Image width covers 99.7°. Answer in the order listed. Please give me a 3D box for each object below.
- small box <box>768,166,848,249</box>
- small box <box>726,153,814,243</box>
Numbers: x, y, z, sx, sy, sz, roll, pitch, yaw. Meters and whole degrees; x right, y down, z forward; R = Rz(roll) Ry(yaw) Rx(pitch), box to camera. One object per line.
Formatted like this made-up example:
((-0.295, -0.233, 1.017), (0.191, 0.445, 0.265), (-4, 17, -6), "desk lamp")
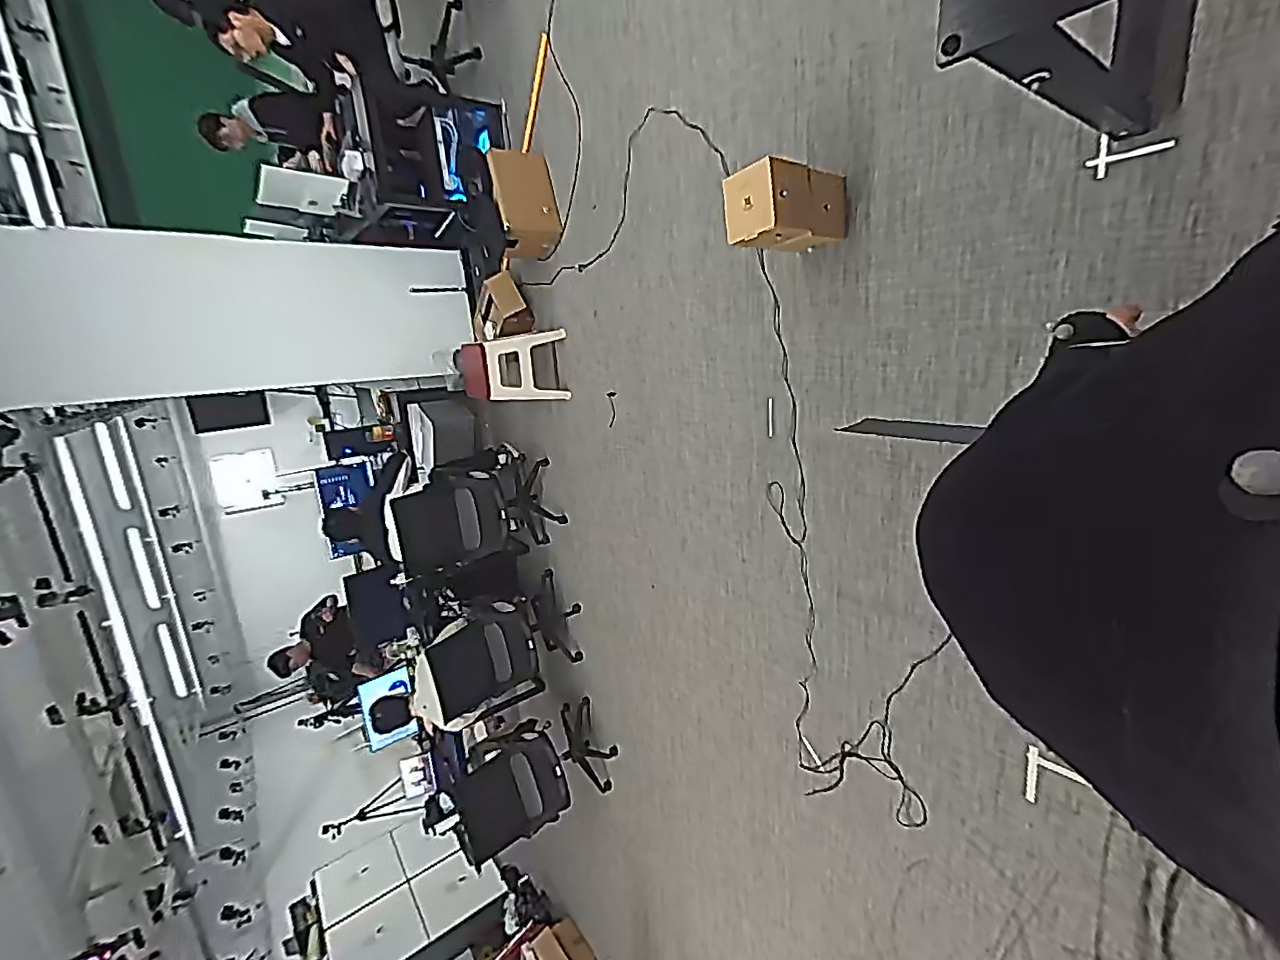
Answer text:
((0.490, -0.787, 1.579), (0.168, 0.176, 0.179), (10, 110, 53), "small box")
((0.360, -0.762, 1.486), (0.168, 0.176, 0.179), (4, 103, 53), "small box")
